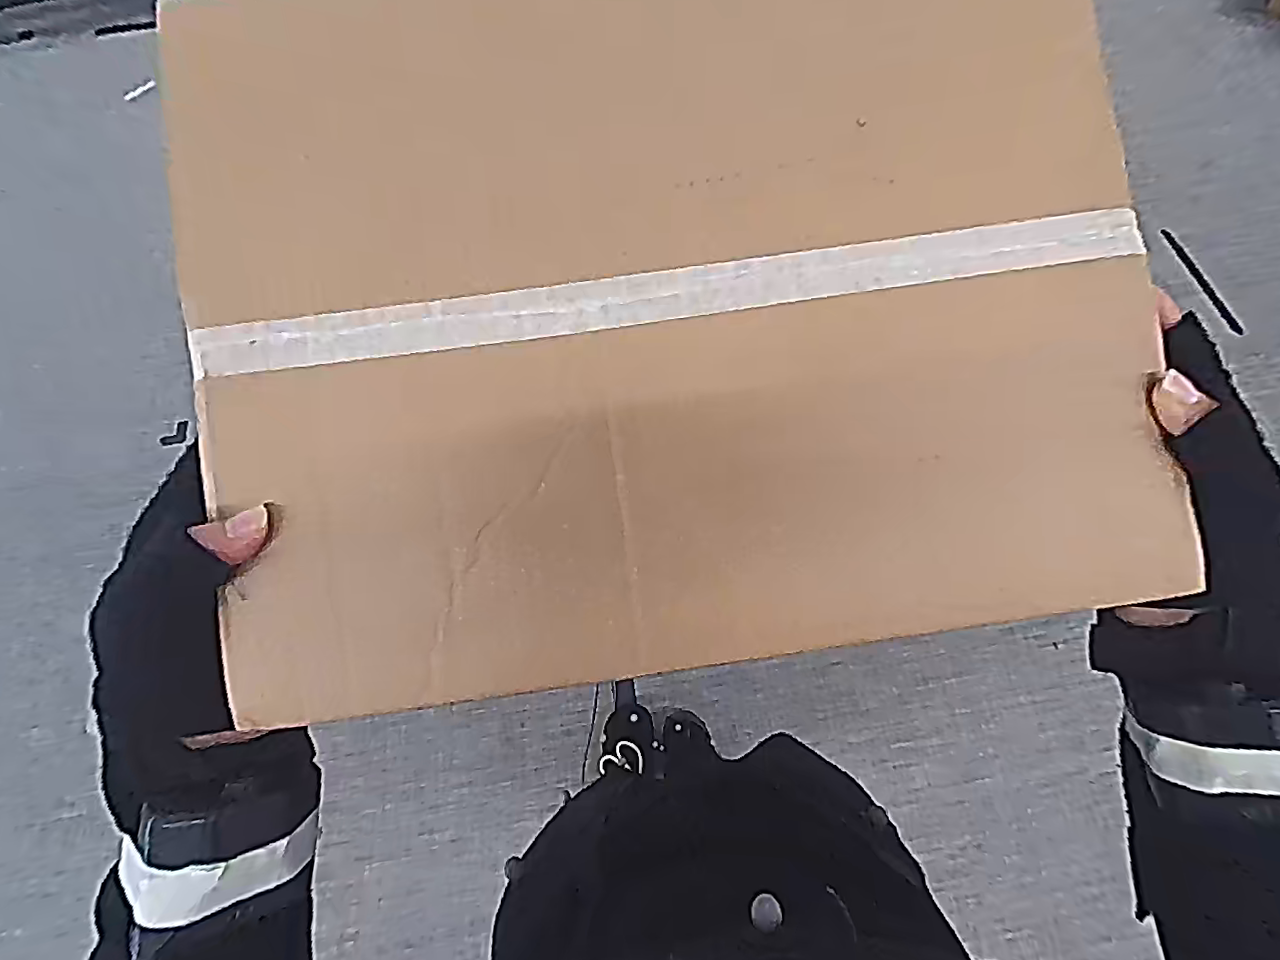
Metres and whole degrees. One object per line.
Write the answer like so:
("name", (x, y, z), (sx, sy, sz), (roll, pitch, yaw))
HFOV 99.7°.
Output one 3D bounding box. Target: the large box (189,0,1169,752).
("large box", (0.015, -0.059, 0.387), (0.408, 0.320, 0.320), (-8, 87, -1))
